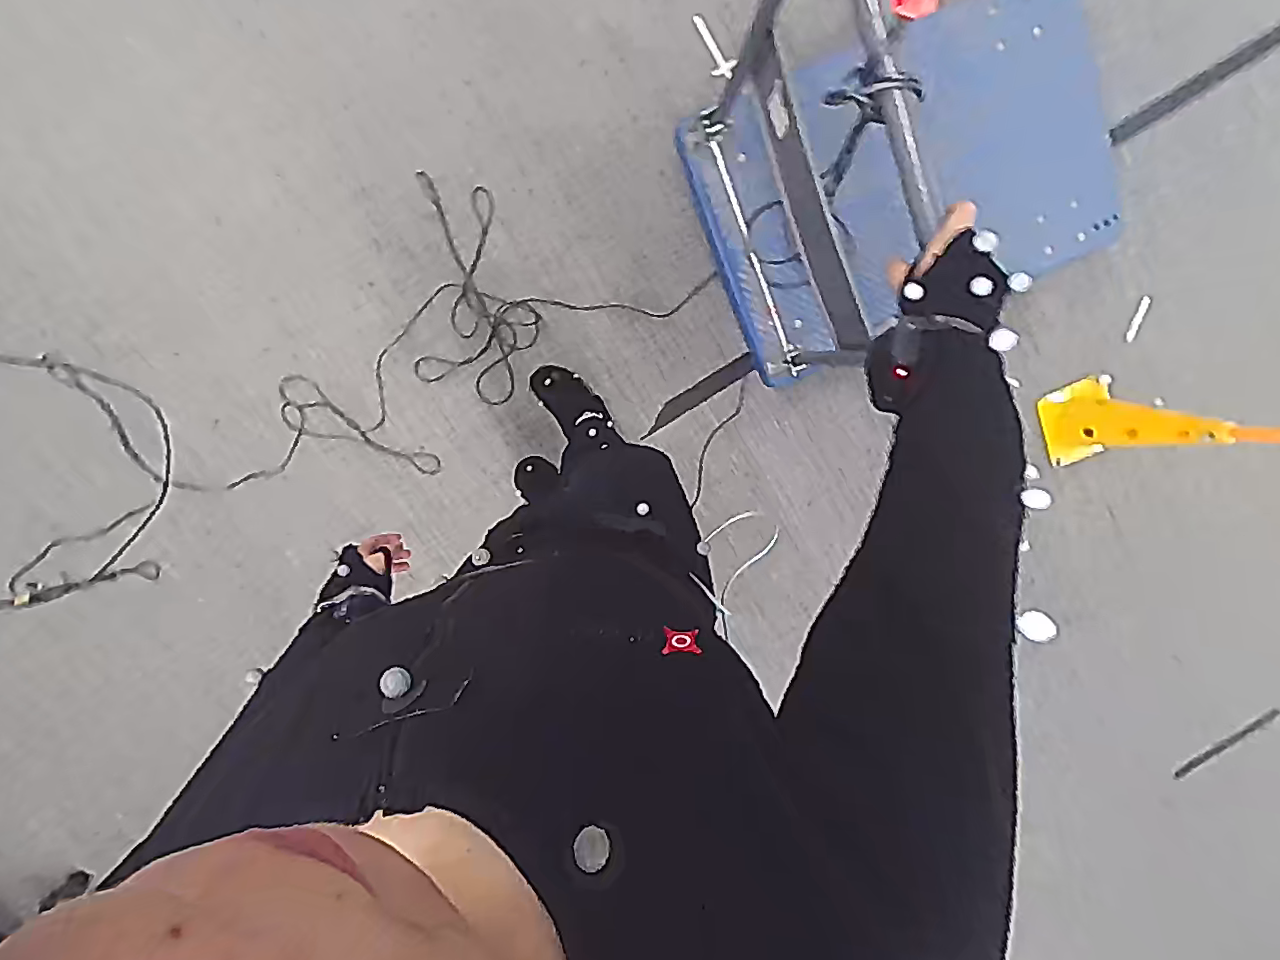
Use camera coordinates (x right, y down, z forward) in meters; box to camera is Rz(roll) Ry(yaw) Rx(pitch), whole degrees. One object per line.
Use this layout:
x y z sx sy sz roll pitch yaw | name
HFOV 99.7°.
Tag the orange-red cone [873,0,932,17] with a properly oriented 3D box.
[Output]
0.600 -1.129 1.036 0.199 0.360 0.198 12 100 -9 | orange-red cone
